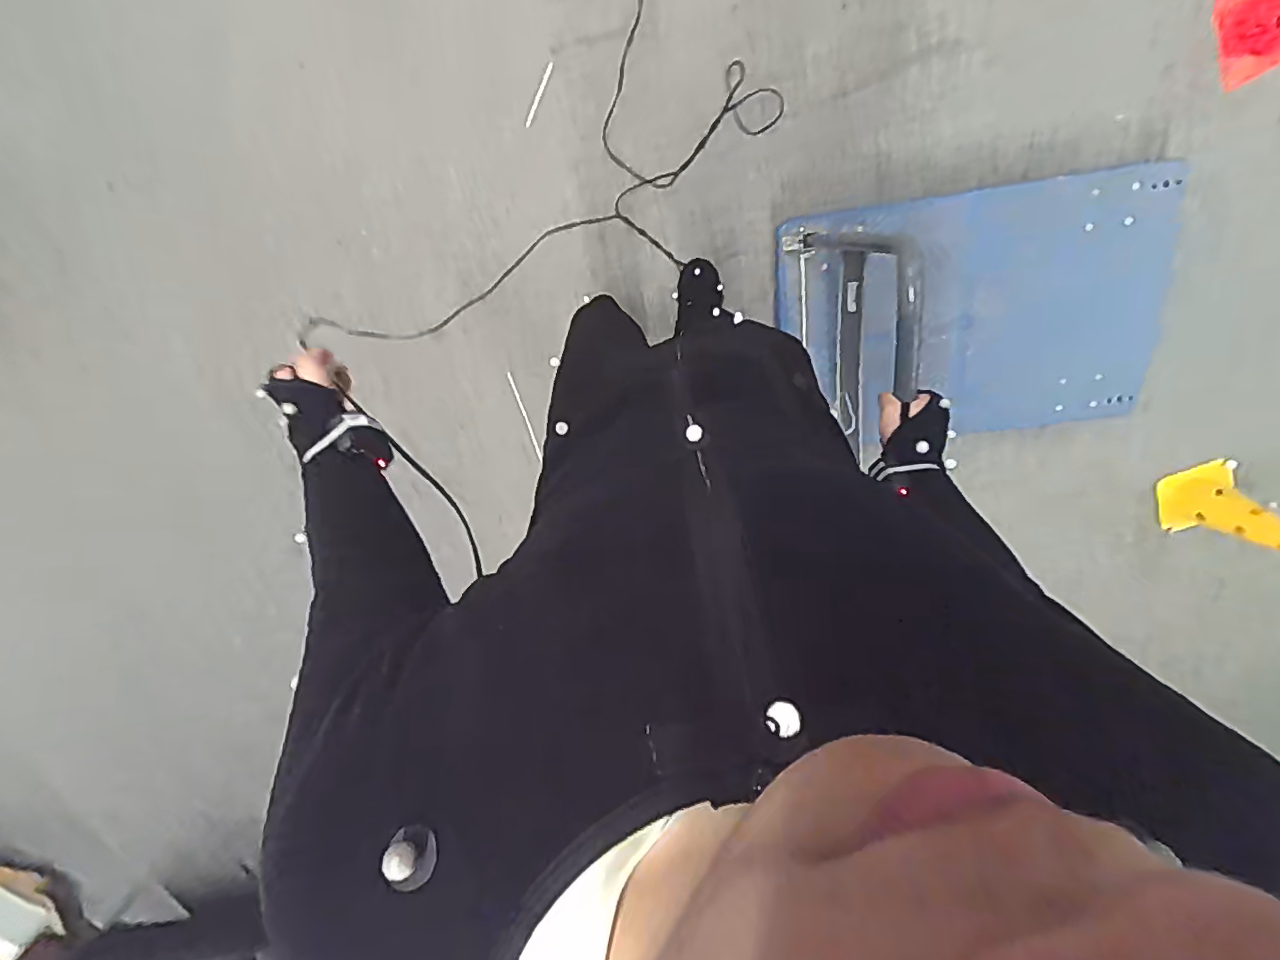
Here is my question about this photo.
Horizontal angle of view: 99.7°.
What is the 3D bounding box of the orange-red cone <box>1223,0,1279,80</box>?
[{"bbox_3d":[1.362,-0.943,1.004,0.198,0.360,0.199,-27,108,13],"label":"orange-red cone"}]
